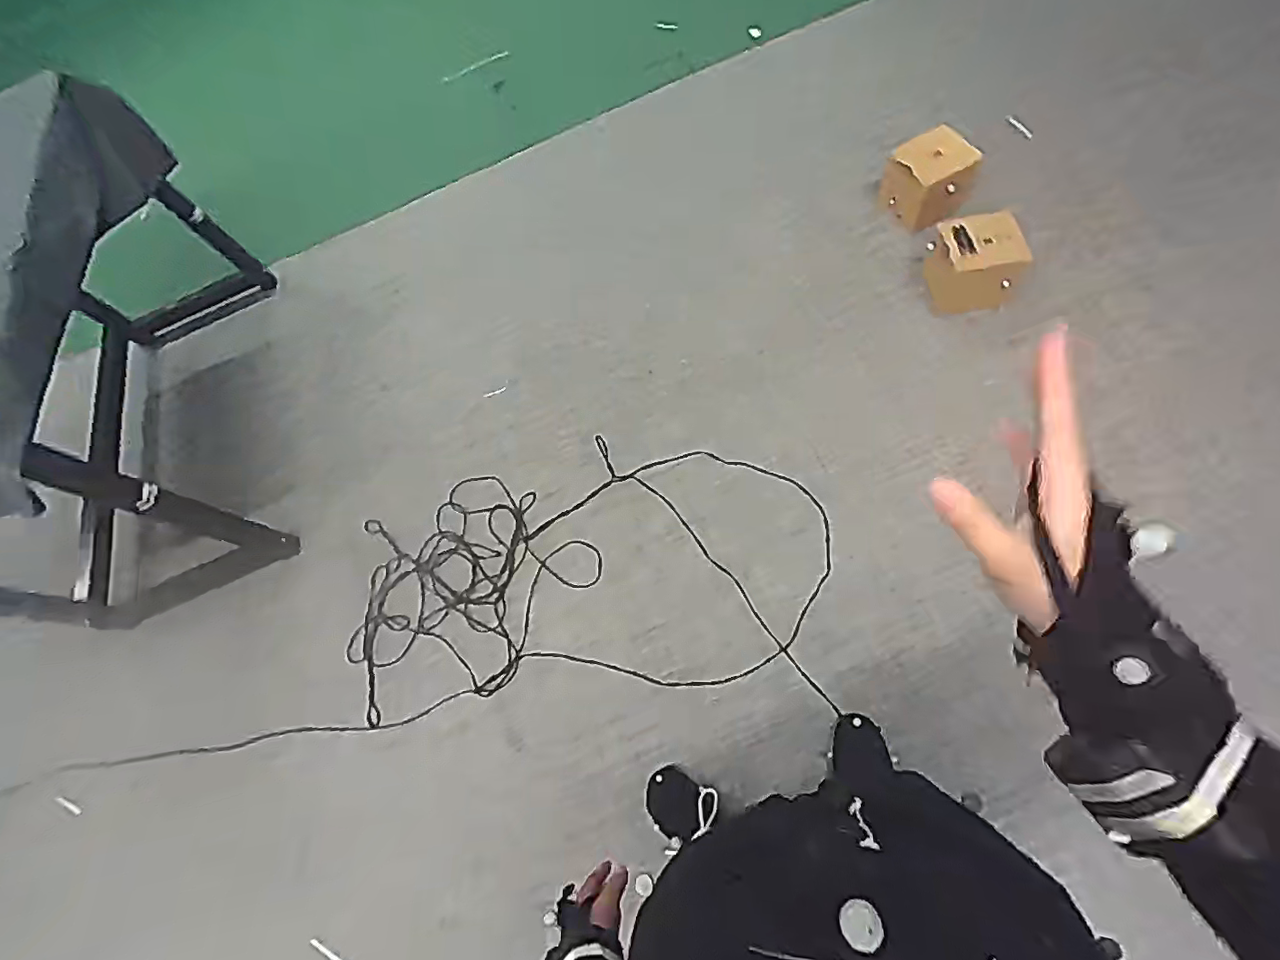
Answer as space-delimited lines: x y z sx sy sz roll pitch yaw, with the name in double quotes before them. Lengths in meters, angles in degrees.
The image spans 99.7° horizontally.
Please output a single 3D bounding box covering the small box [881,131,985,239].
"small box" 0.813 -0.826 1.523 0.179 0.176 0.168 -27 65 0
